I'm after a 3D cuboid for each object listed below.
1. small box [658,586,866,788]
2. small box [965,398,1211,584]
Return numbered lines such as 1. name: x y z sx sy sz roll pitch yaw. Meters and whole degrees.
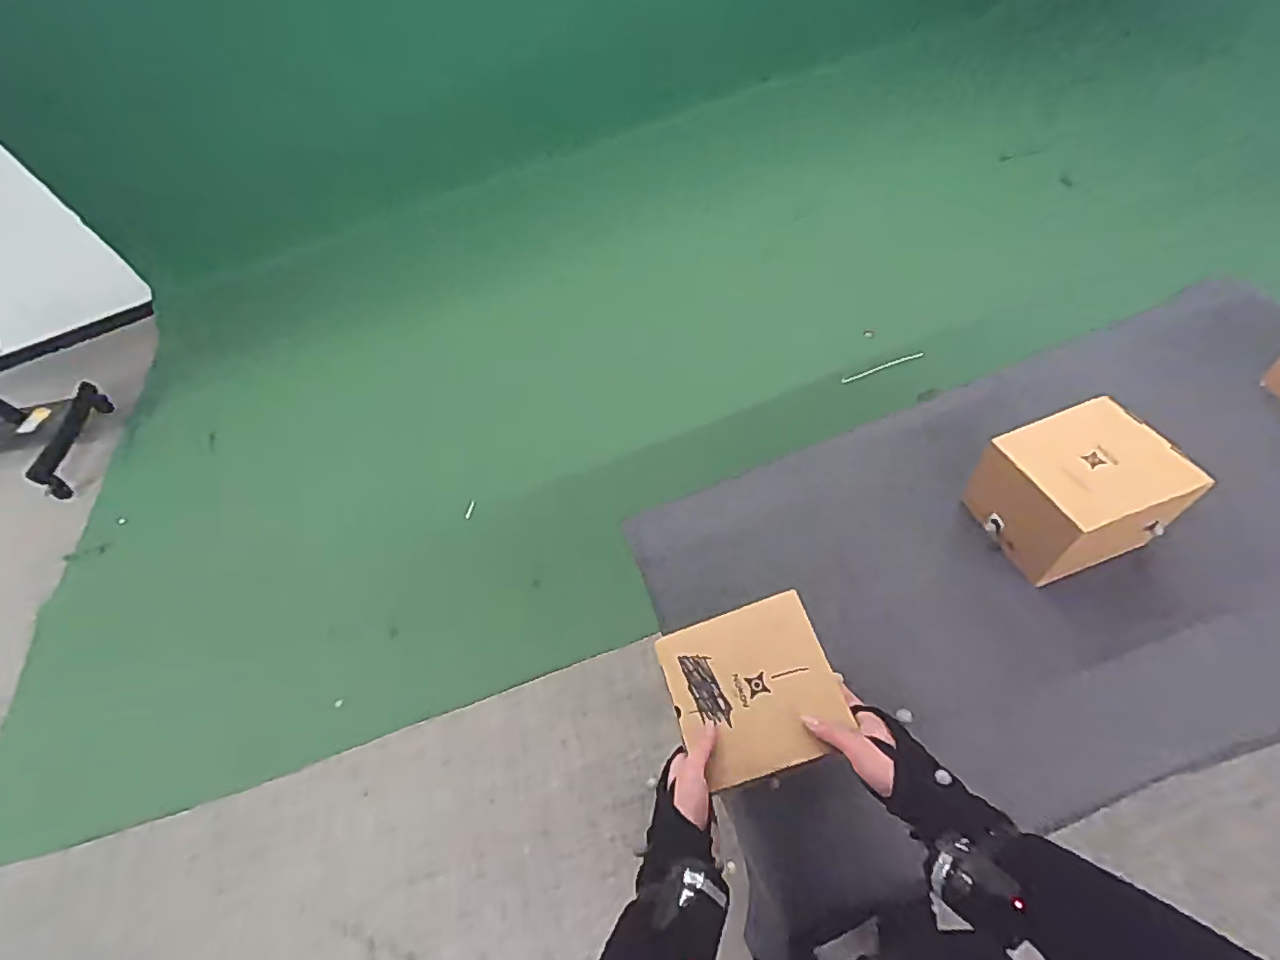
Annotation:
1. small box: 0.140 0.249 0.635 0.179 0.176 0.168 -20 59 5
2. small box: 0.607 0.020 0.766 0.179 0.176 0.168 -21 54 -1
